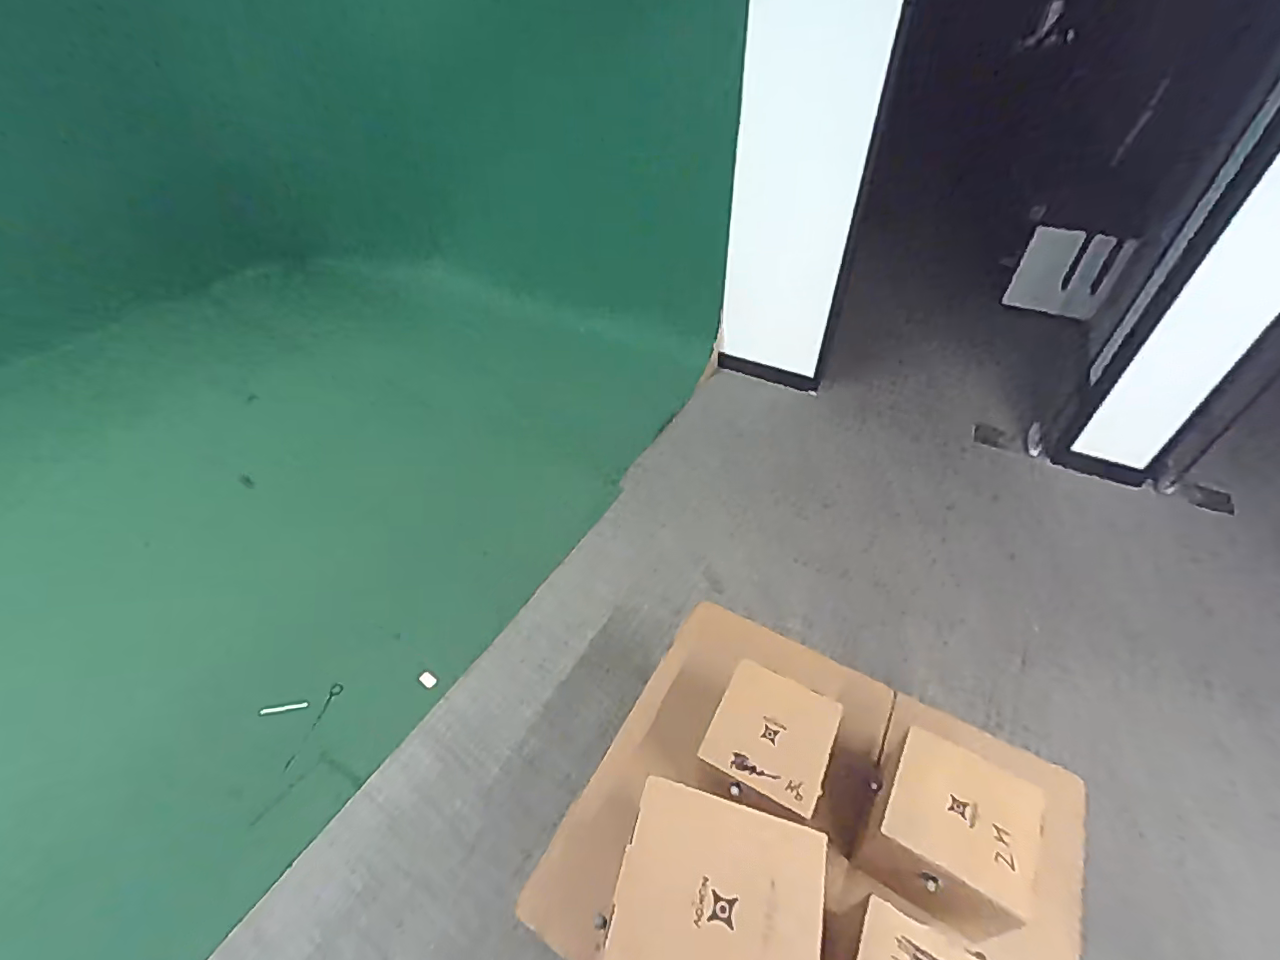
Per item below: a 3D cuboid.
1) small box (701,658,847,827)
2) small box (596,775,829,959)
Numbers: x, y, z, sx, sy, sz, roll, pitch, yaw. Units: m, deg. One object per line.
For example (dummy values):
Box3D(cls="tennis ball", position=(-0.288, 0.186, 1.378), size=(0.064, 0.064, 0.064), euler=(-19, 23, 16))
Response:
Box3D(cls="small box", position=(0.200, 0.419, 0.837), size=(0.168, 0.176, 0.179), euler=(19, 47, 23))
Box3D(cls="small box", position=(0.064, 0.412, 0.515), size=(0.179, 0.176, 0.168), euler=(14, 51, 9))
